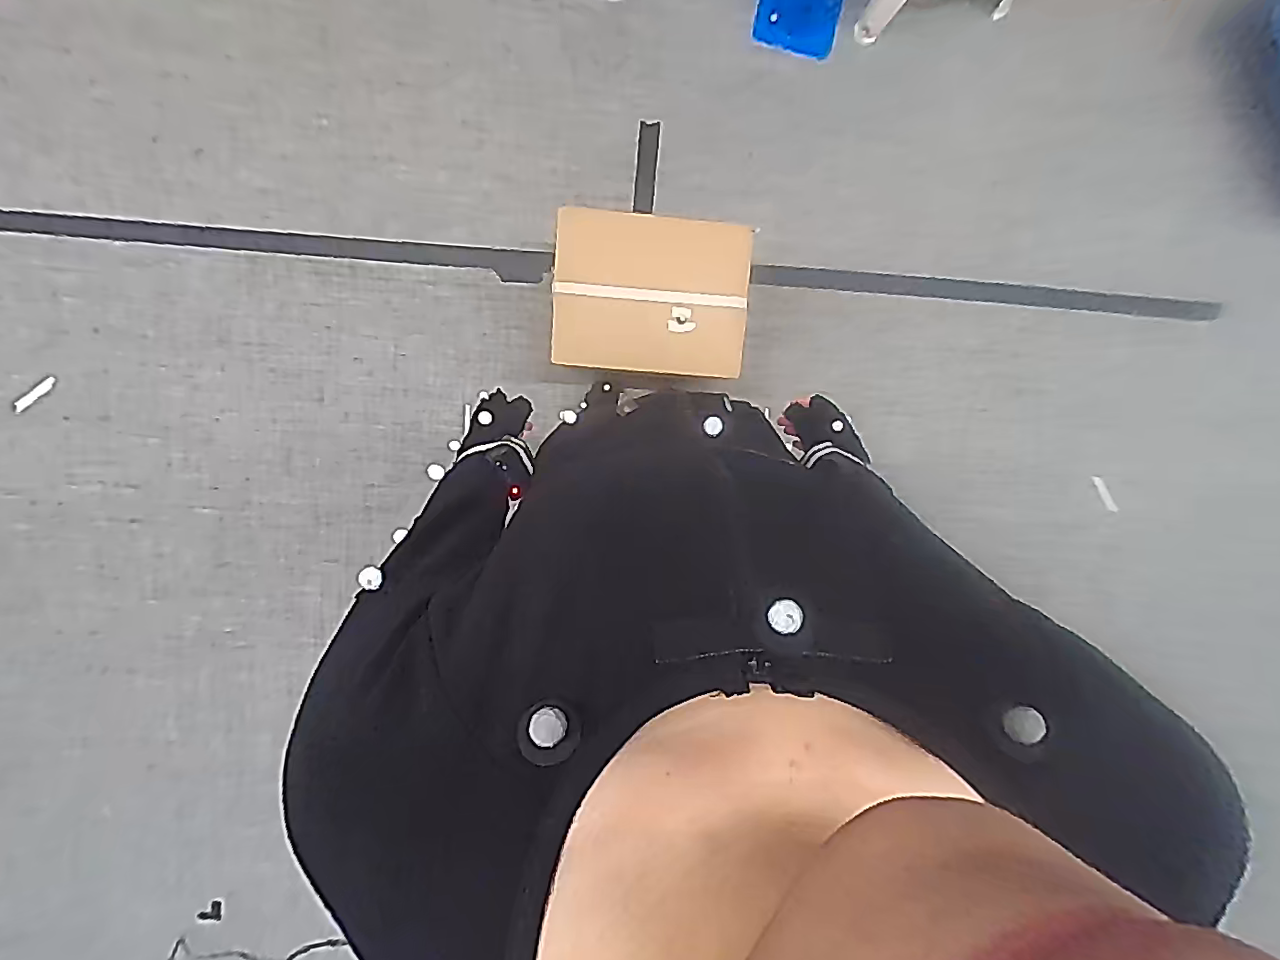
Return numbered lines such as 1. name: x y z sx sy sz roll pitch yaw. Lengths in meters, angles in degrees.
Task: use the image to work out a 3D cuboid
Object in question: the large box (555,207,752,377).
1. large box: 0.014 -0.412 1.267 0.408 0.320 0.320 3 100 -5
